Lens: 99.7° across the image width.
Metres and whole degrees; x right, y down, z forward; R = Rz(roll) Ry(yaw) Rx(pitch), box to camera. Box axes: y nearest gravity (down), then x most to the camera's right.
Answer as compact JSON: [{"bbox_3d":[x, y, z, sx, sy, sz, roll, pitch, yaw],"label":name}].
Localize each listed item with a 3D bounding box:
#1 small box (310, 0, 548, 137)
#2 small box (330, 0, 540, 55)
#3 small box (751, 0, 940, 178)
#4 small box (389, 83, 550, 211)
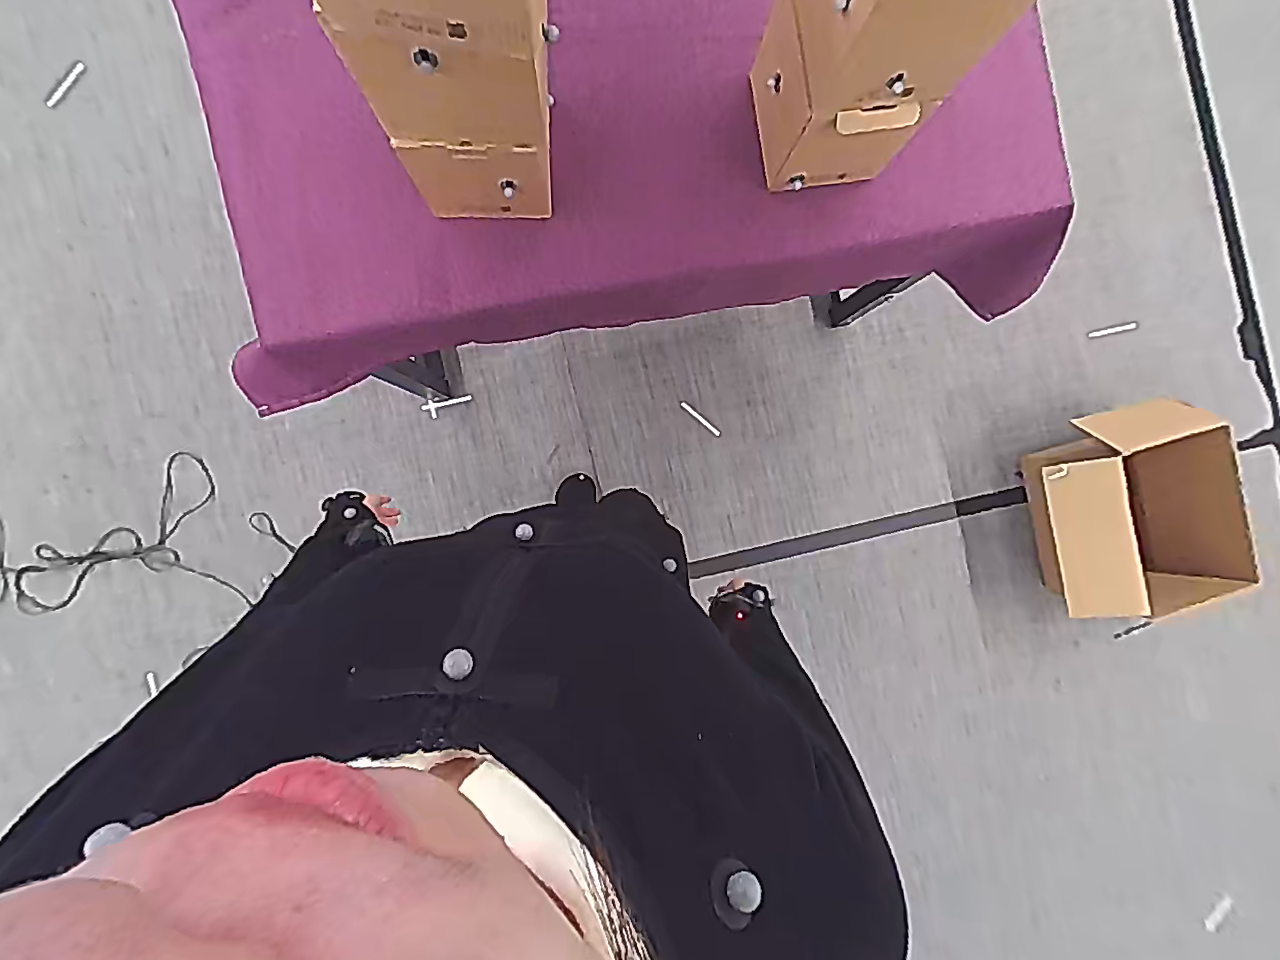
[{"bbox_3d":[-0.184,-0.460,0.516,0.179,0.176,0.168,0,92,-5],"label":"small box"},{"bbox_3d":[-0.150,-0.439,0.355,0.168,0.176,0.179,5,90,-5],"label":"small box"},{"bbox_3d":[0.257,-0.524,0.710,0.168,0.176,0.179,-9,90,-4],"label":"small box"},{"bbox_3d":[-0.203,-0.460,0.679,0.168,0.176,0.179,-1,91,-5],"label":"small box"}]
